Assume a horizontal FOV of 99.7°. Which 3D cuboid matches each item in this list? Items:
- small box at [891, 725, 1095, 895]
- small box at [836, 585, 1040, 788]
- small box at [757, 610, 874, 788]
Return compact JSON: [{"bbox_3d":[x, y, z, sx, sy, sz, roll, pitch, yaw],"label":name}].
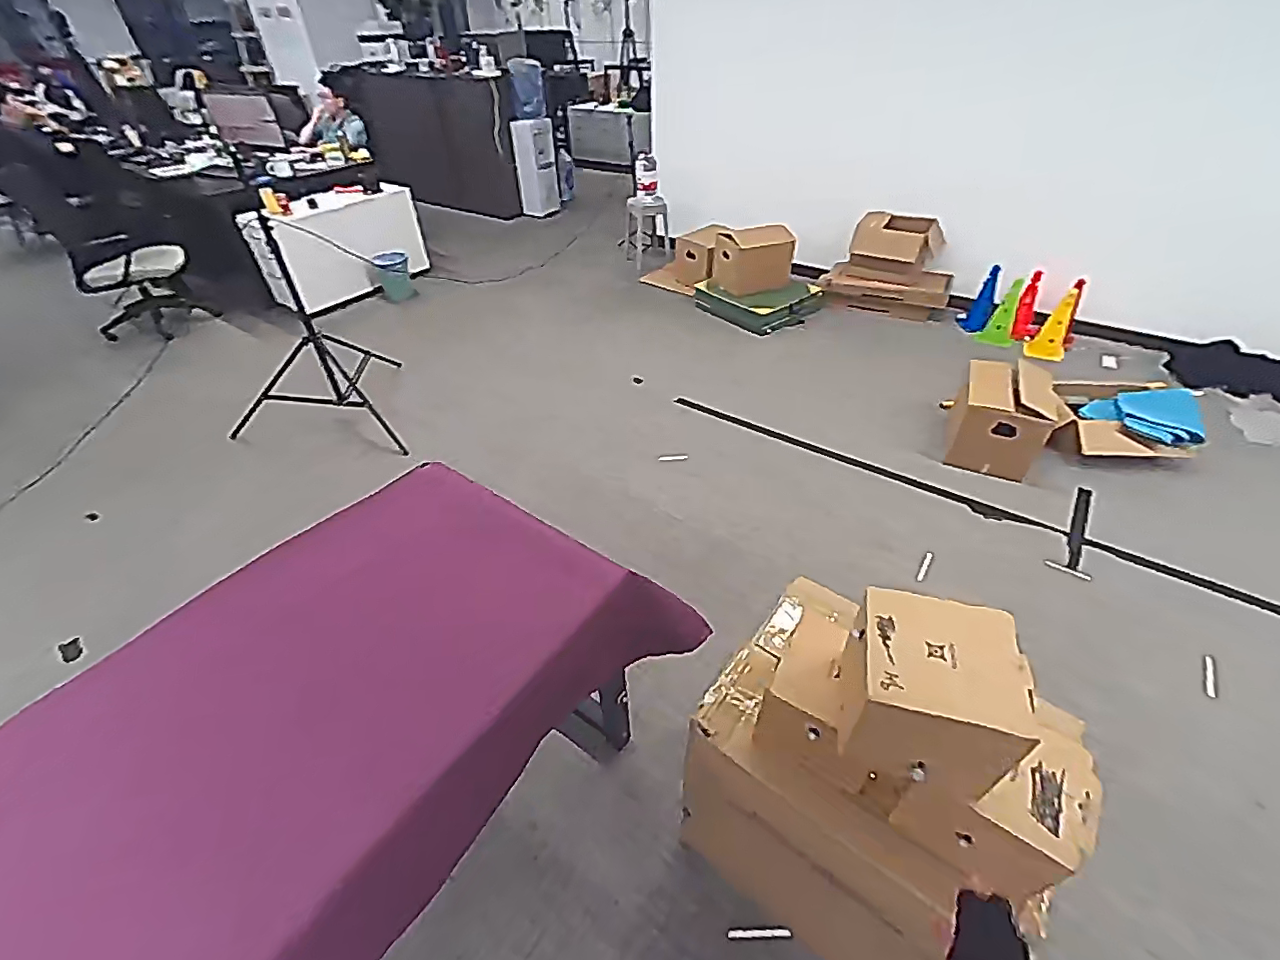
[{"bbox_3d":[0.479,0.430,0.749,0.179,0.176,0.168,24,47,30],"label":"small box"},{"bbox_3d":[0.364,0.267,0.695,0.179,0.176,0.168,10,43,14],"label":"small box"},{"bbox_3d":[0.300,0.347,0.856,0.179,0.176,0.168,23,48,24],"label":"small box"}]
